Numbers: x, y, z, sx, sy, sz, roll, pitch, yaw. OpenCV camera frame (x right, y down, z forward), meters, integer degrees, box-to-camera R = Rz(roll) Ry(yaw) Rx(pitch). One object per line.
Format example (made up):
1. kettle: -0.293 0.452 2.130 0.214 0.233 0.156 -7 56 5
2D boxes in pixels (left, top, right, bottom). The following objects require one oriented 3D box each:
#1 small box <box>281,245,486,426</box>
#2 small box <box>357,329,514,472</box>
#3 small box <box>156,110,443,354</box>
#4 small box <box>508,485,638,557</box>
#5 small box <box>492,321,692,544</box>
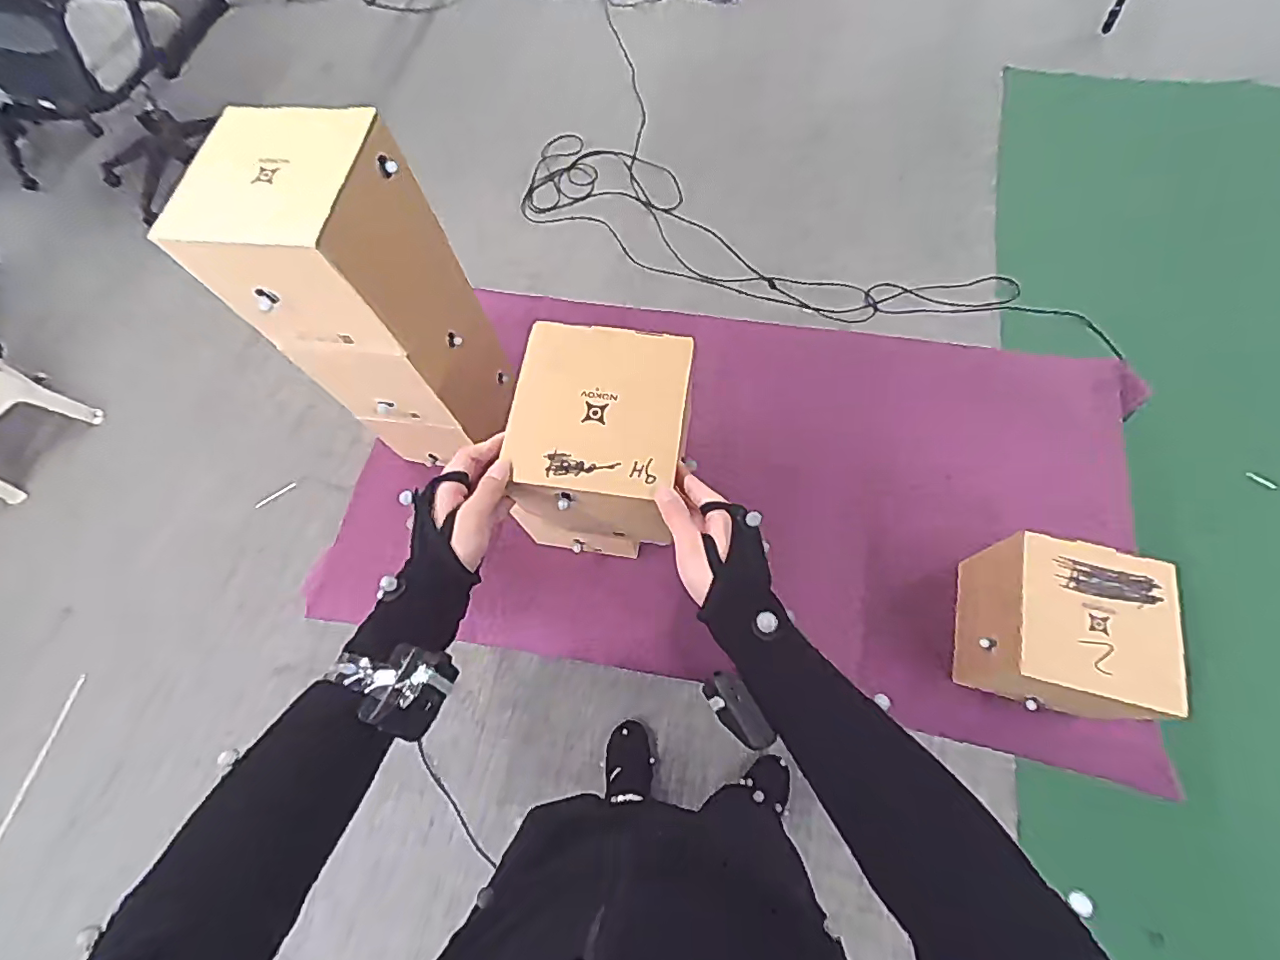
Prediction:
1. small box: -0.323 -0.193 0.727 0.168 0.176 0.179 6 69 7
2. small box: -0.314 -0.131 0.877 0.168 0.176 0.179 7 69 7
3. small box: -0.335 -0.254 0.576 0.168 0.176 0.179 6 68 7
4. small box: -0.076 0.001 0.807 0.168 0.176 0.179 8 69 8
5. small box: -0.039 -0.044 0.590 0.168 0.176 0.179 8 70 7
